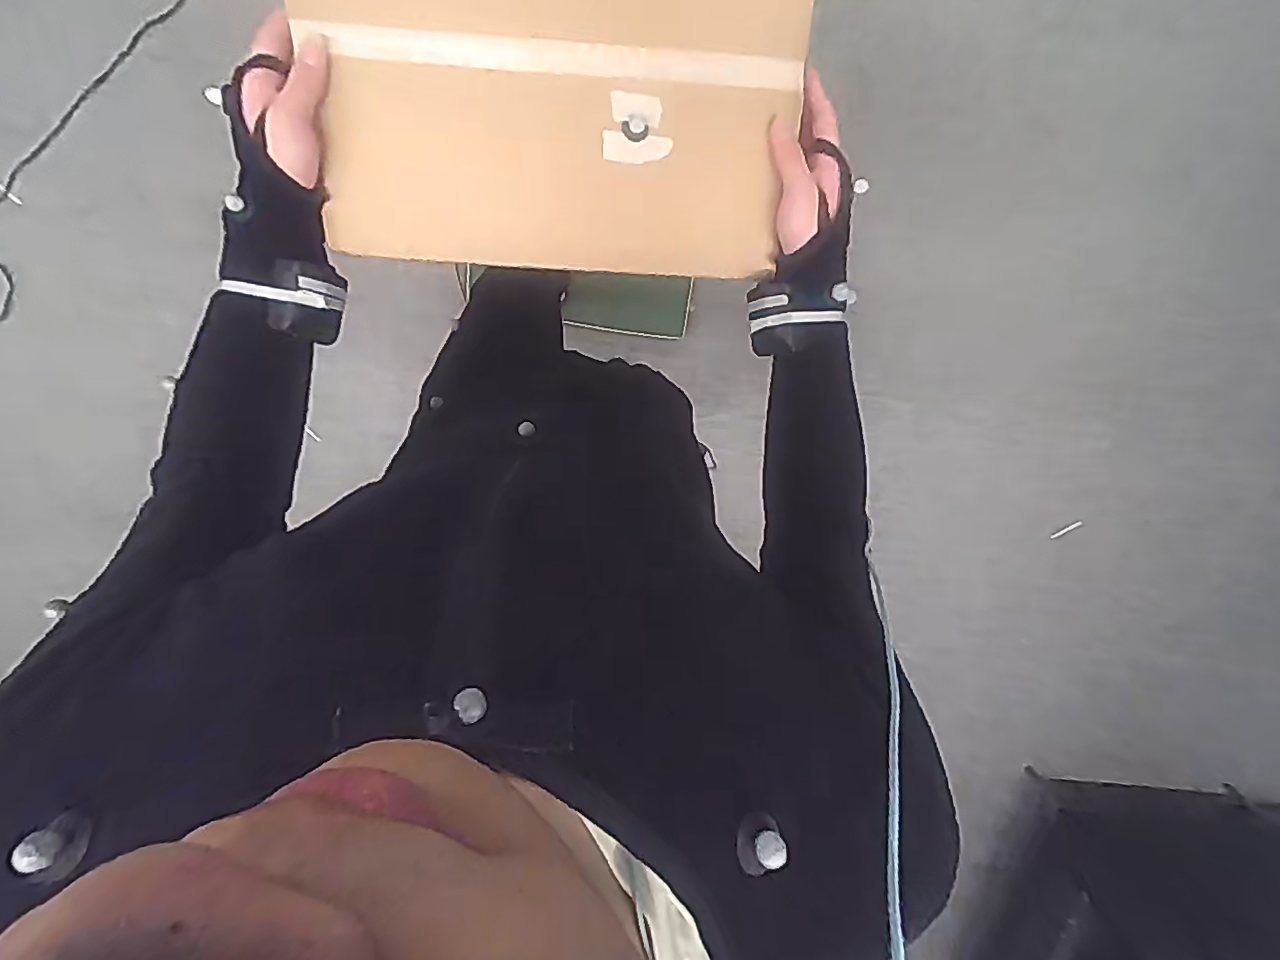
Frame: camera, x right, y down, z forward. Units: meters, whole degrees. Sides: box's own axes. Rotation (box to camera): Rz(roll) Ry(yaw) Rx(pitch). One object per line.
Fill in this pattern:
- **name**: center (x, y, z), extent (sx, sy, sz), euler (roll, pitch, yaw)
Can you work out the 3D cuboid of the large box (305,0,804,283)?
- **large box**: center (-0.077, -0.392, 0.588), extent (0.408, 0.320, 0.320), euler (2, 113, -4)
